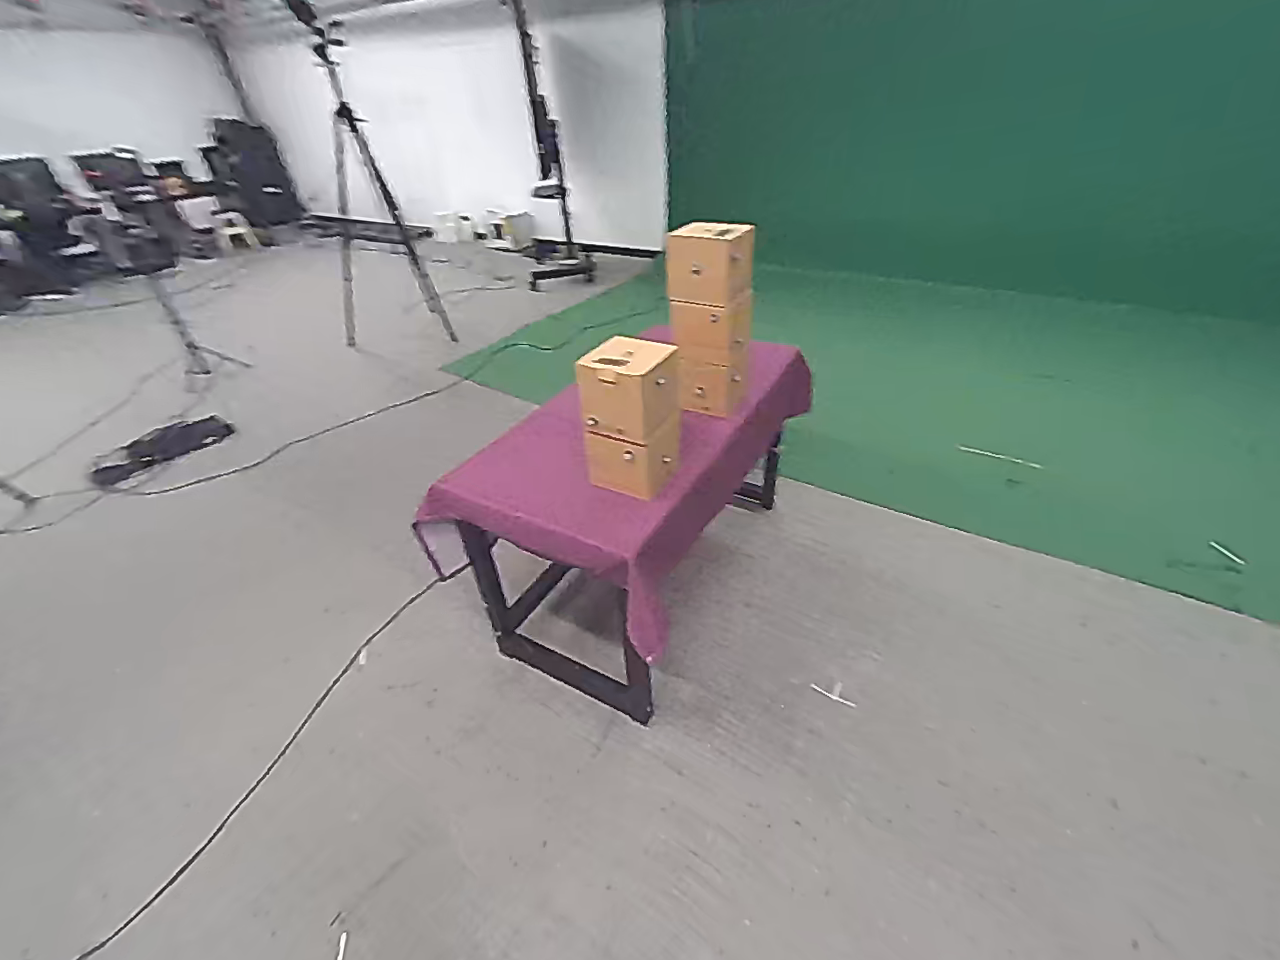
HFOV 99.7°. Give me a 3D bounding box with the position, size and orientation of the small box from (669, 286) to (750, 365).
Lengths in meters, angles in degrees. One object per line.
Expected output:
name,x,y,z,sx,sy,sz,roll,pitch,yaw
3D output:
small box,0.197,-0.442,1.547,0.179,0.176,0.168,17,41,26

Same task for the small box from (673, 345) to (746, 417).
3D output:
small box,0.214,-0.310,1.642,0.168,0.176,0.179,16,41,25

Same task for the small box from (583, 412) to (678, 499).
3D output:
small box,-0.017,-0.075,1.340,0.179,0.176,0.168,16,40,26

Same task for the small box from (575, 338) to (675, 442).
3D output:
small box,-0.026,-0.207,1.242,0.168,0.176,0.179,16,40,25
